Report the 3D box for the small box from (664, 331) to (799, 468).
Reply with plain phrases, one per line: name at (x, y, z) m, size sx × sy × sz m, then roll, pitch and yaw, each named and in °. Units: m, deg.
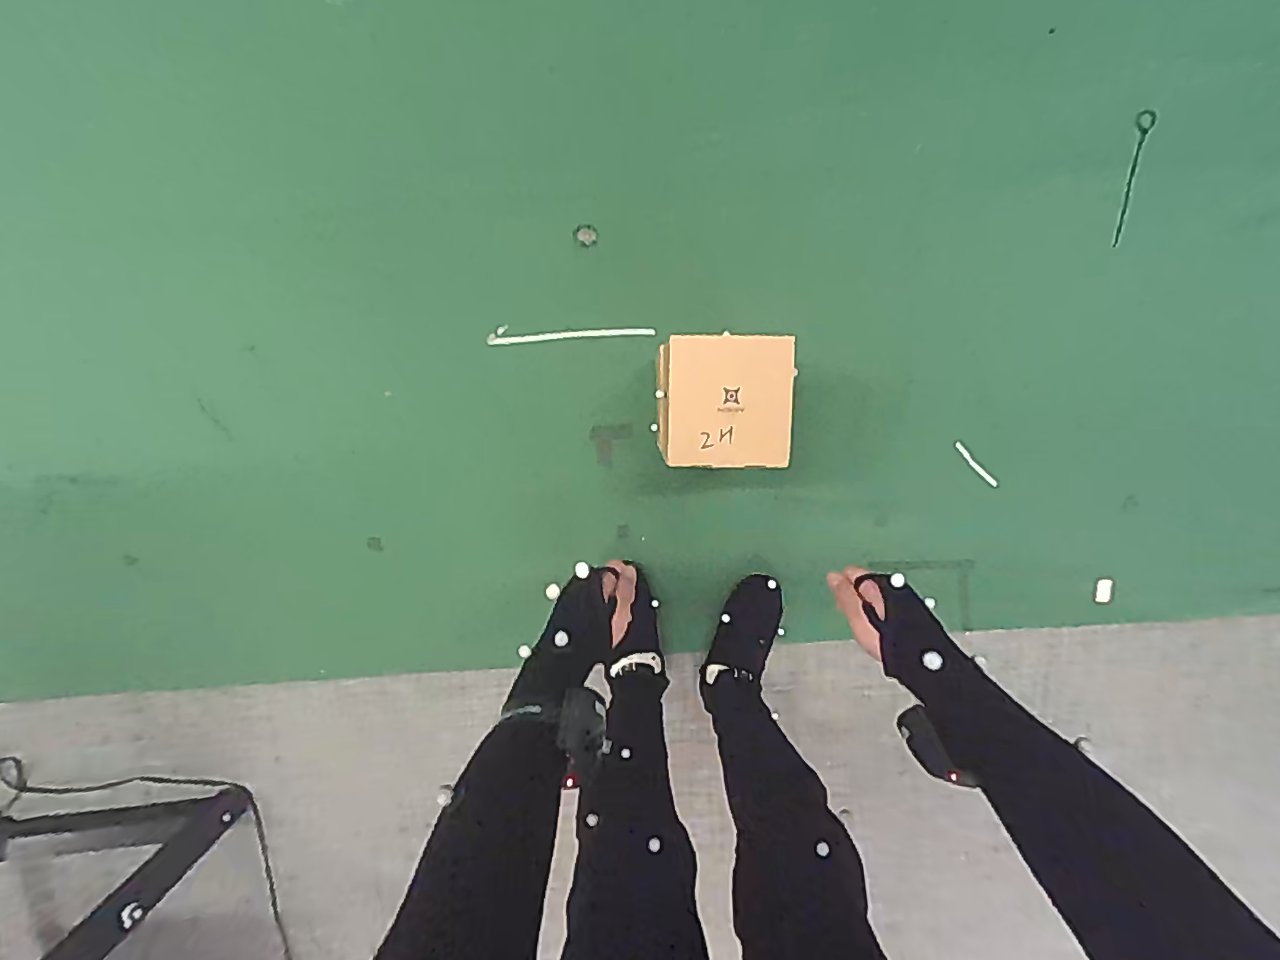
small box at (0.122, -0.115, 0.787) m, size 0.168 × 0.176 × 0.179 m, roll 1°, pitch 99°, yaw 0°
